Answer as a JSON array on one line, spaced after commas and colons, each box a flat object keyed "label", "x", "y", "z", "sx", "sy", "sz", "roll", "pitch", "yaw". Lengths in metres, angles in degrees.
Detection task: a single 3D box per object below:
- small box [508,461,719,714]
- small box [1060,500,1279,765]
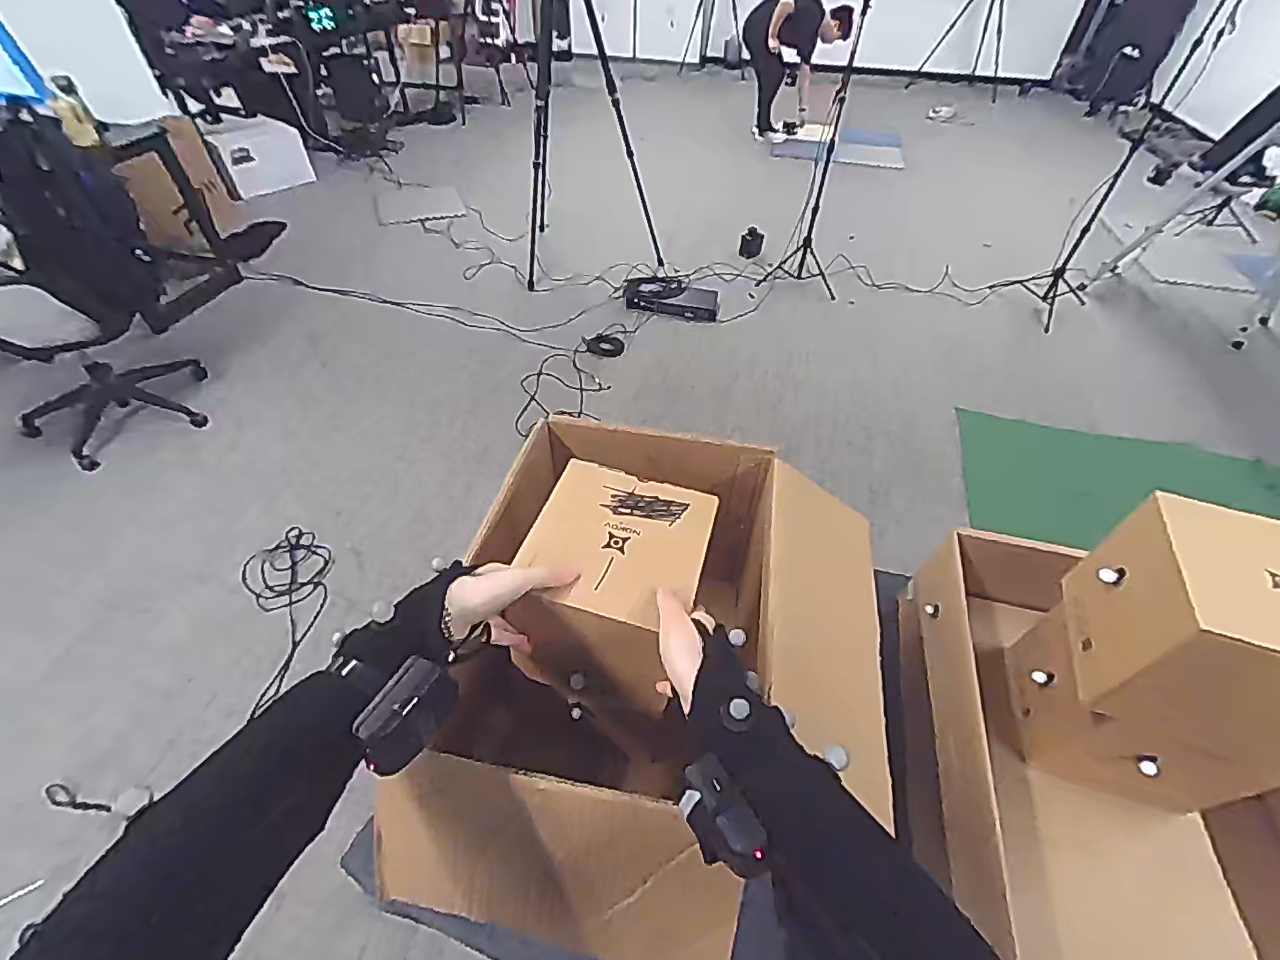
[{"label": "small box", "x": -0.025, "y": 0.114, "z": 0.575, "sx": 0.168, "sy": 0.176, "sz": 0.179, "roll": 15, "pitch": 46, "yaw": 7}, {"label": "small box", "x": 0.557, "y": 0.152, "z": 0.537, "sx": 0.179, "sy": 0.176, "sz": 0.168, "roll": 17, "pitch": 50, "yaw": 13}]
